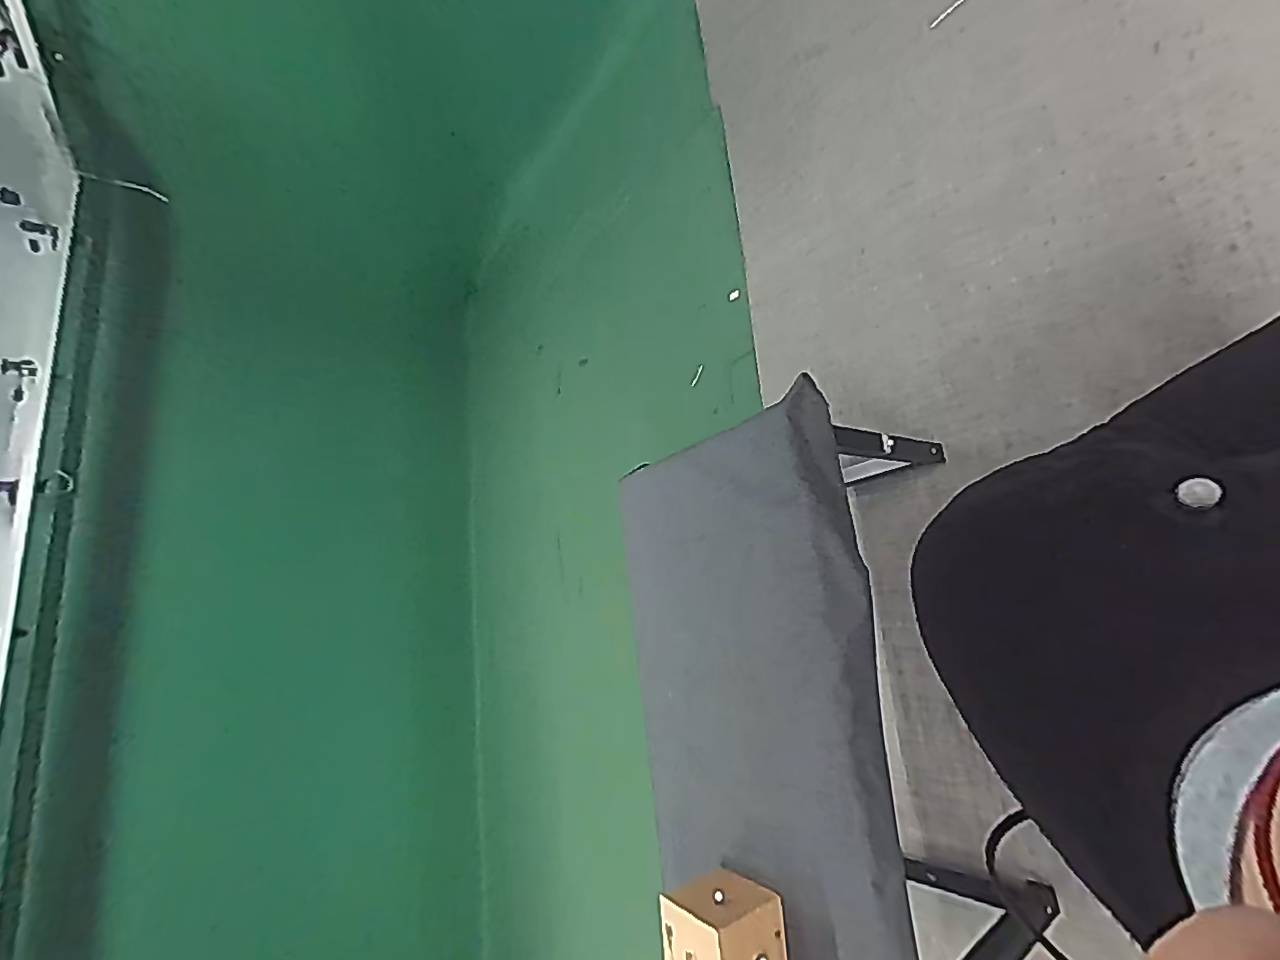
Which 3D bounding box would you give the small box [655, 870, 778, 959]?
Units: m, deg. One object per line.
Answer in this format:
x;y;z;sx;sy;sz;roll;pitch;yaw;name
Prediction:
0.153;0.900;1.052;0.179;0.176;0.168;-19;71;50;small box
